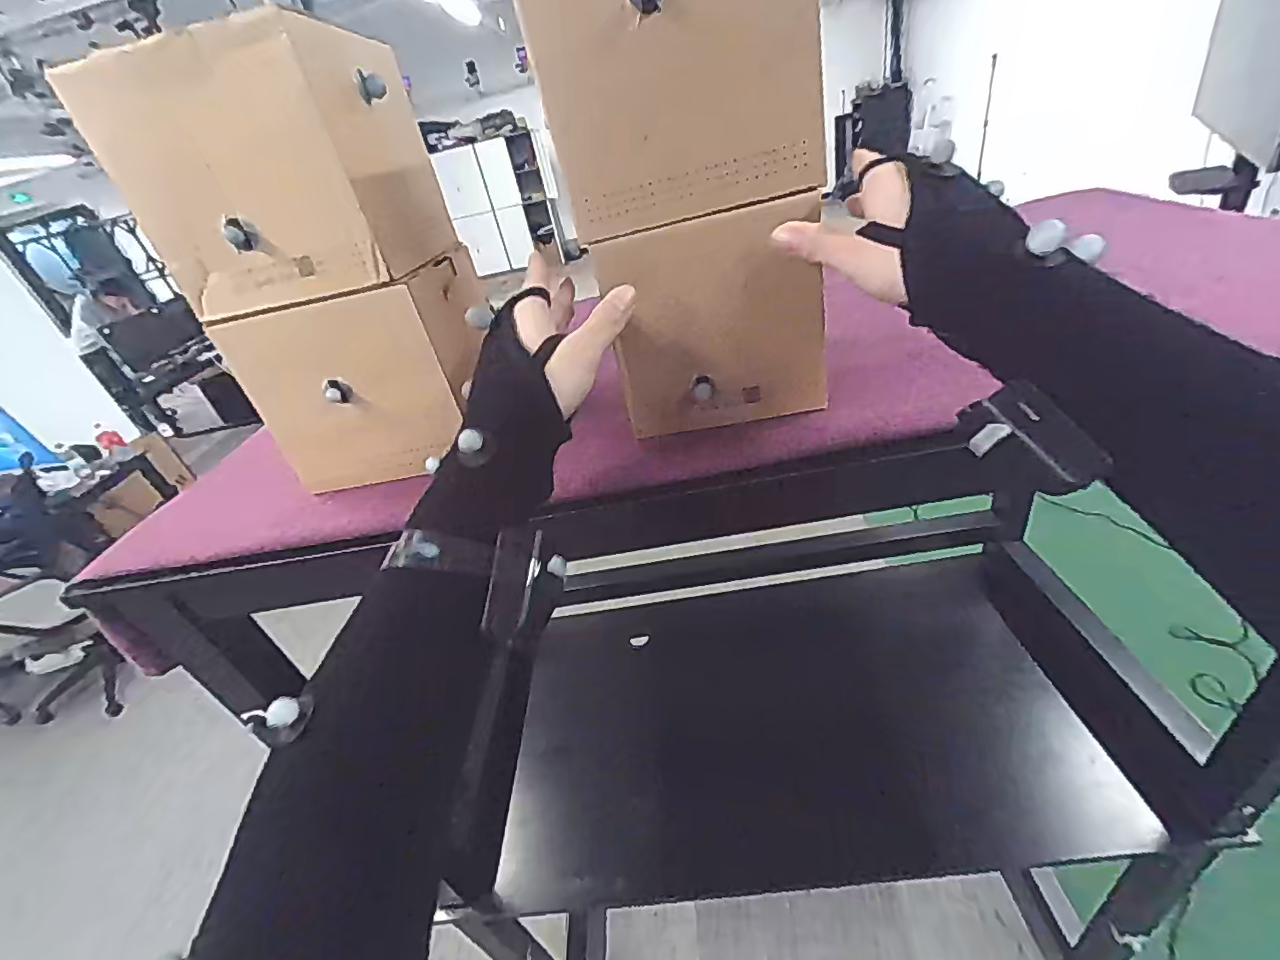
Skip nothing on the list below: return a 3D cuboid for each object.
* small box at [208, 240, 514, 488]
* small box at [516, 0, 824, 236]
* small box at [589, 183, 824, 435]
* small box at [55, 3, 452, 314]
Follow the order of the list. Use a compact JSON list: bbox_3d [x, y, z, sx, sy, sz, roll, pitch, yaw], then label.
[{"bbox_3d":[-0.240,-0.113,0.524,0.179,0.176,0.168,-10,32,7],"label":"small box"},{"bbox_3d":[0.025,-0.292,0.396,0.179,0.176,0.168,-10,33,9],"label":"small box"},{"bbox_3d":[0.063,-0.160,0.487,0.168,0.176,0.179,-9,33,9],"label":"small box"},{"bbox_3d":[-0.277,-0.250,0.445,0.168,0.176,0.179,-10,33,7],"label":"small box"}]
